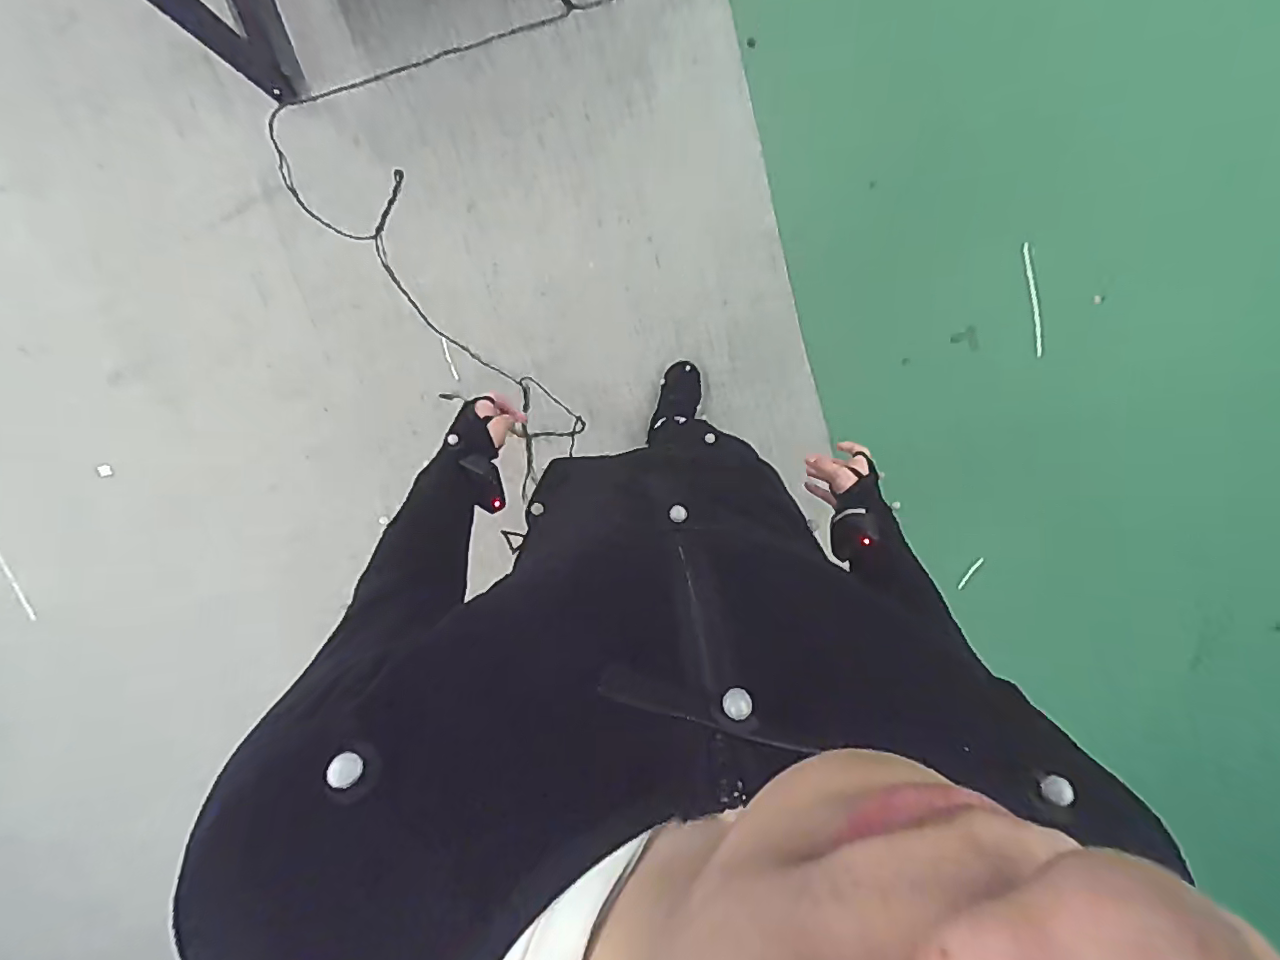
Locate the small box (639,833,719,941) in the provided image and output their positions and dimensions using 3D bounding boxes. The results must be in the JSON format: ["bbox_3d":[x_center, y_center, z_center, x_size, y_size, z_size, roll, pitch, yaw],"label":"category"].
[{"bbox_3d":[0.091,0.993,1.293,0.168,0.176,0.179,-9,100,0],"label":"small box"}]

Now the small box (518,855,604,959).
[{"bbox_3d":[-0.184,1.041,1.299,0.168,0.176,0.179,-11,100,1],"label":"small box"}]
